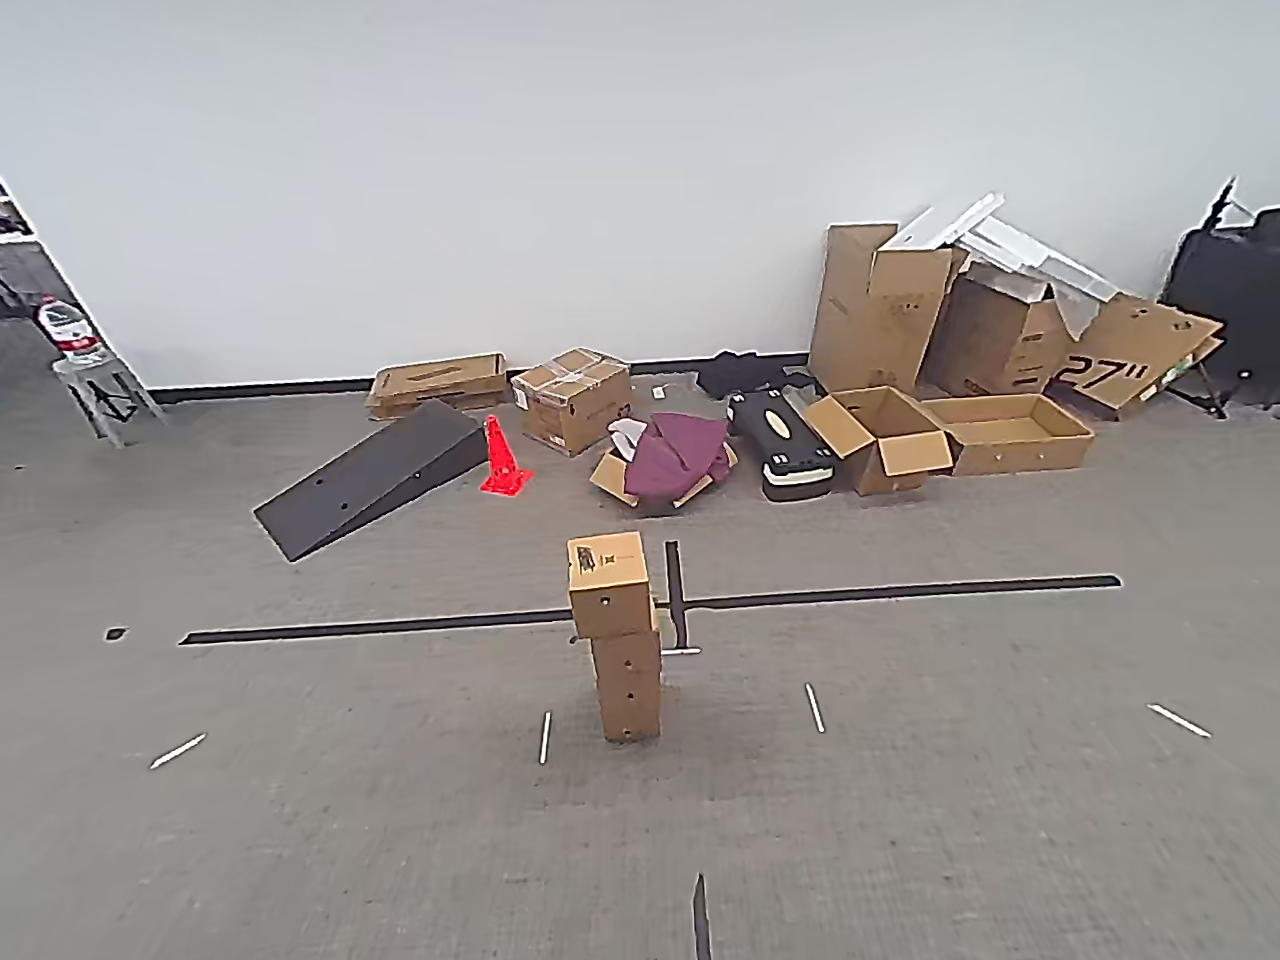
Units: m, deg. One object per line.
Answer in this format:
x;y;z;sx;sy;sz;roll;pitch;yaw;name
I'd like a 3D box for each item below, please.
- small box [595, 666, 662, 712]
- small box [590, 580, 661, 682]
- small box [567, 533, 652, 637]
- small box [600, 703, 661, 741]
-0.031;0.510;1.468;0.168;0.176;0.179;-5;37;-1;small box
-0.041;0.378;1.368;0.168;0.176;0.179;-8;37;-4;small box
-0.071;0.249;1.269;0.179;0.176;0.168;-7;36;-4;small box
-0.028;0.632;1.579;0.168;0.176;0.179;-6;38;-1;small box
